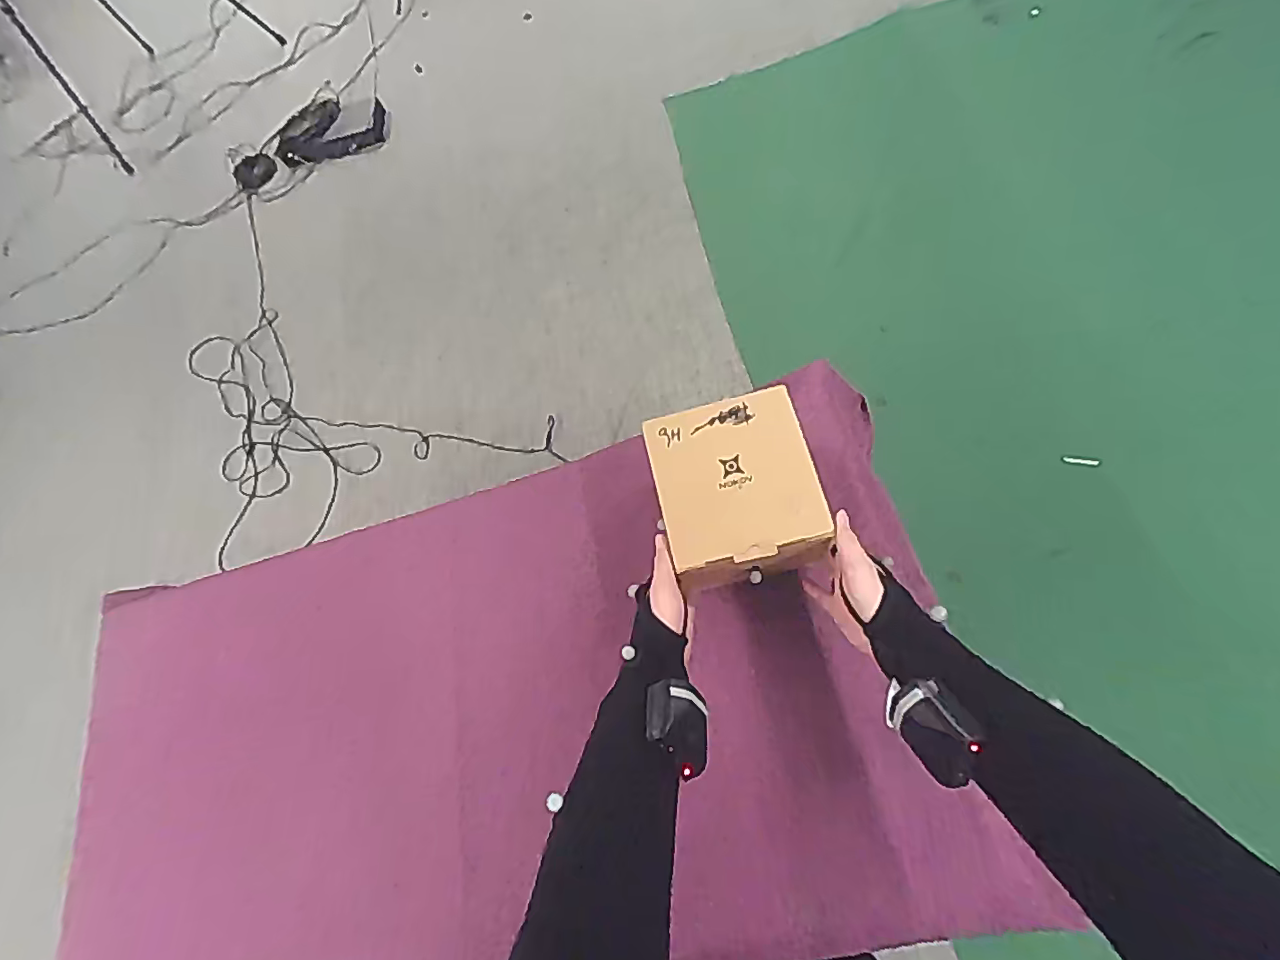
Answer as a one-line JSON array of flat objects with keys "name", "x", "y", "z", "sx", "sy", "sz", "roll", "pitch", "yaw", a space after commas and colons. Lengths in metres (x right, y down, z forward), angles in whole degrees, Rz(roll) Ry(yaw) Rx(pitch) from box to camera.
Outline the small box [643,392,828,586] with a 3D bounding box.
[{"name": "small box", "x": 0.110, "y": 0.024, "z": 0.650, "sx": 0.168, "sy": 0.176, "sz": 0.179, "roll": -14, "pitch": 69, "yaw": 5}]
